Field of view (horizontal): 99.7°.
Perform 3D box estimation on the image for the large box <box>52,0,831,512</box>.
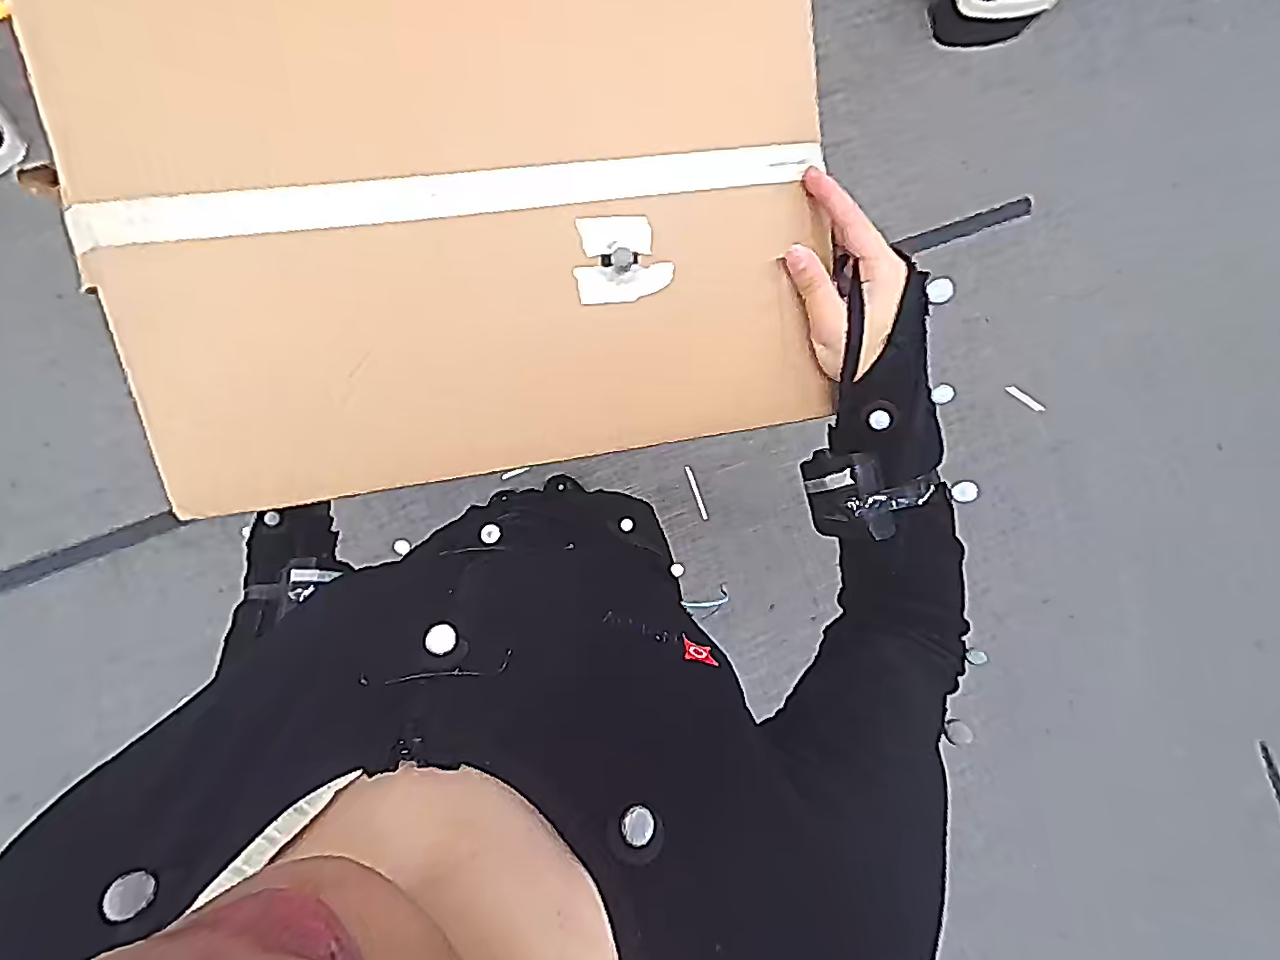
[{"bbox_3d":[-0.110,-0.187,0.461,0.408,0.320,0.320,-10,102,-10],"label":"large box"}]
